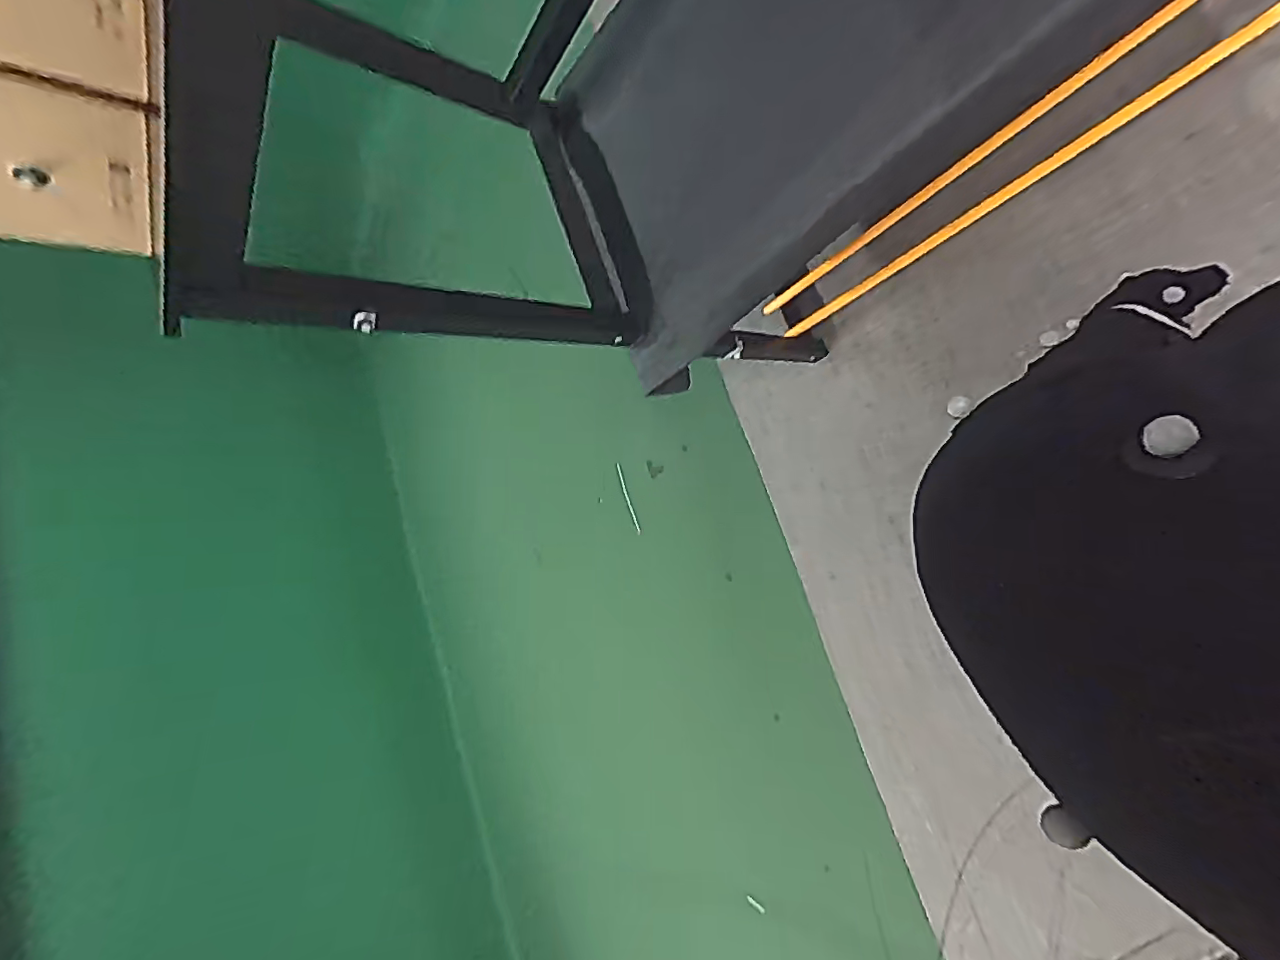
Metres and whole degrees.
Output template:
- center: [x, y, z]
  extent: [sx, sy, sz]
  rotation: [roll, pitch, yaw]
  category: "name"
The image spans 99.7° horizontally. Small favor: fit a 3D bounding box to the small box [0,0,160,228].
- center: [-0.566, -0.363, 0.501]
  extent: [0.168, 0.176, 0.179]
  rotation: [-39, 68, 41]
  category: "small box"
